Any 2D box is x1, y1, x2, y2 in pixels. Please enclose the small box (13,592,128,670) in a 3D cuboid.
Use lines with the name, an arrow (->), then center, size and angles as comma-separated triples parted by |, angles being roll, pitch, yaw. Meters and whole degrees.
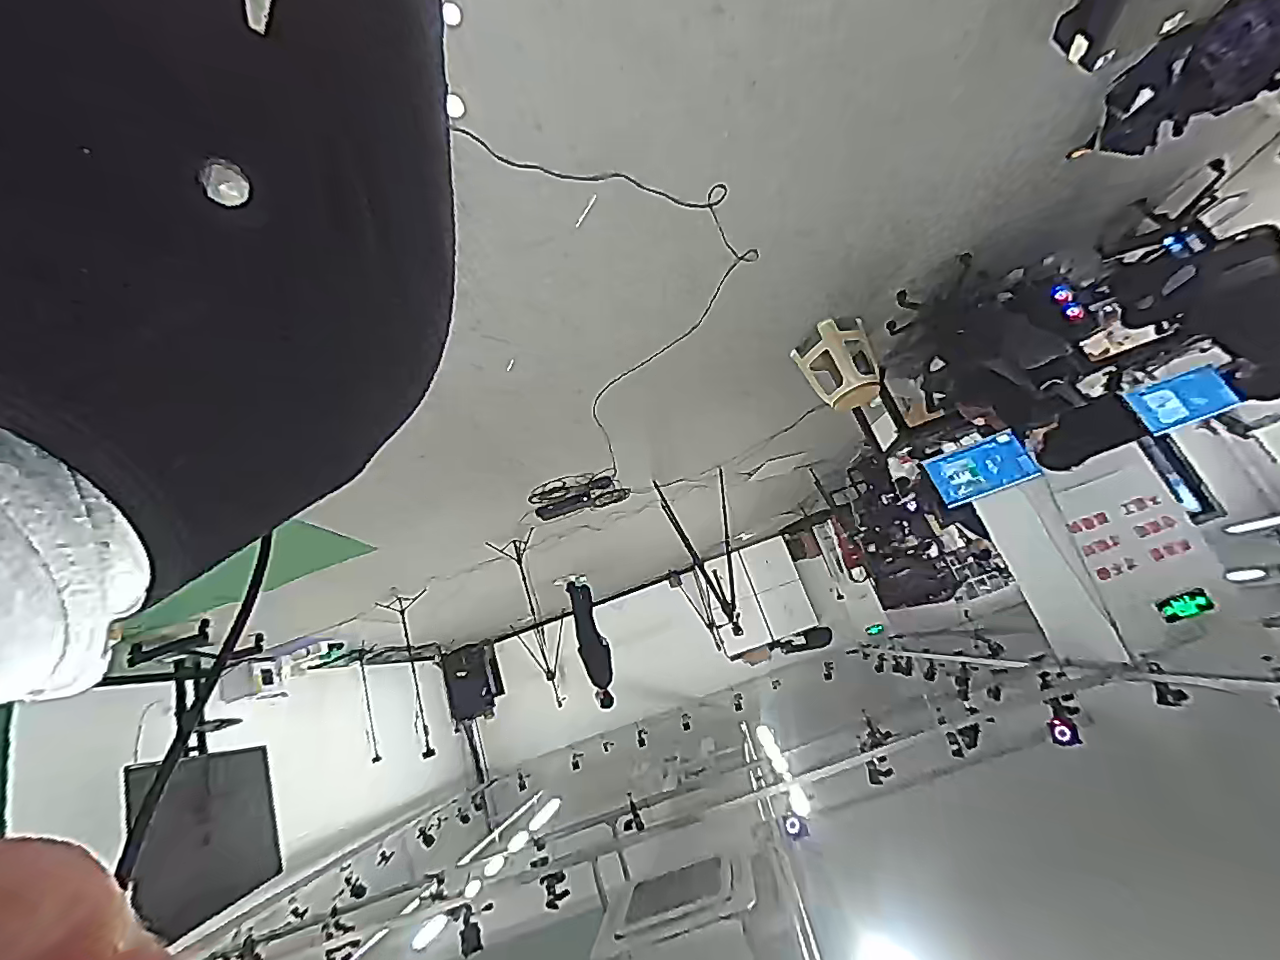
small box -> -1.649, 0.432, 1.567 | 0.179, 0.176, 0.168 | -23, 161, 6
